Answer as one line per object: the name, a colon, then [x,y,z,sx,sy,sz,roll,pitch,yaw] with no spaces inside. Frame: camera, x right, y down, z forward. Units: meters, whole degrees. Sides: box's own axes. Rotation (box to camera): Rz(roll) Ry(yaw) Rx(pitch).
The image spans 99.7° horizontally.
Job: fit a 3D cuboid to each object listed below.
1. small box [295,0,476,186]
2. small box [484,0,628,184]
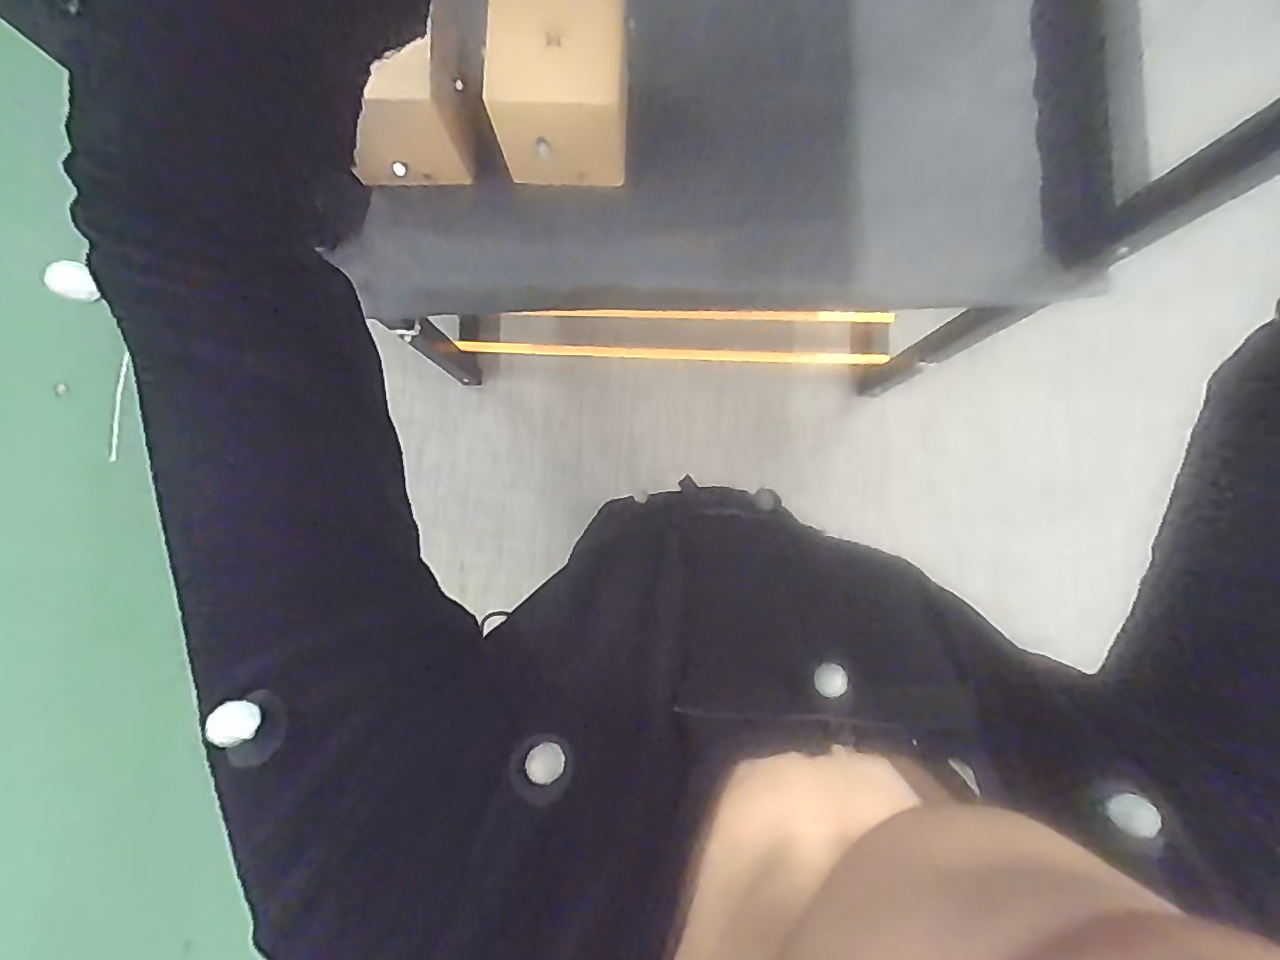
small box: [-0.330,-0.533,0.733,0.168,0.176,0.179,0,85,0]
small box: [-0.103,-0.531,0.734,0.168,0.176,0.179,2,84,0]
